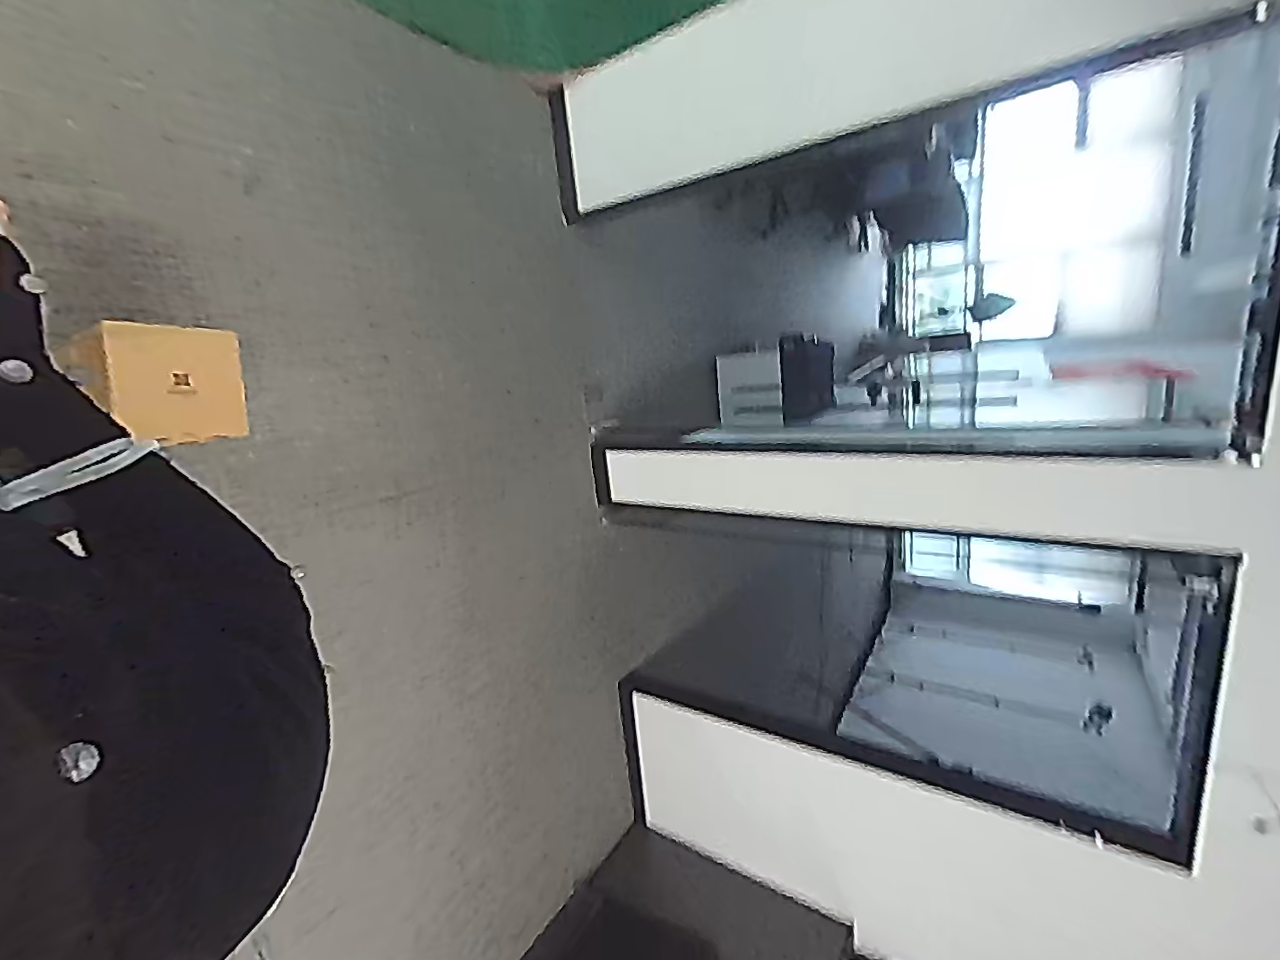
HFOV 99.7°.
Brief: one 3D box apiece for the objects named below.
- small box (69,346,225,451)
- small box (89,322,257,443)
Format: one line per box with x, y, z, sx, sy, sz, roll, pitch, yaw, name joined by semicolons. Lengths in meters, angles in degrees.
-0.902;-0.148;0.991;0.168;0.176;0.179;-16;106;-52;small box
-0.770;-0.153;0.894;0.168;0.176;0.179;-11;102;-54;small box
